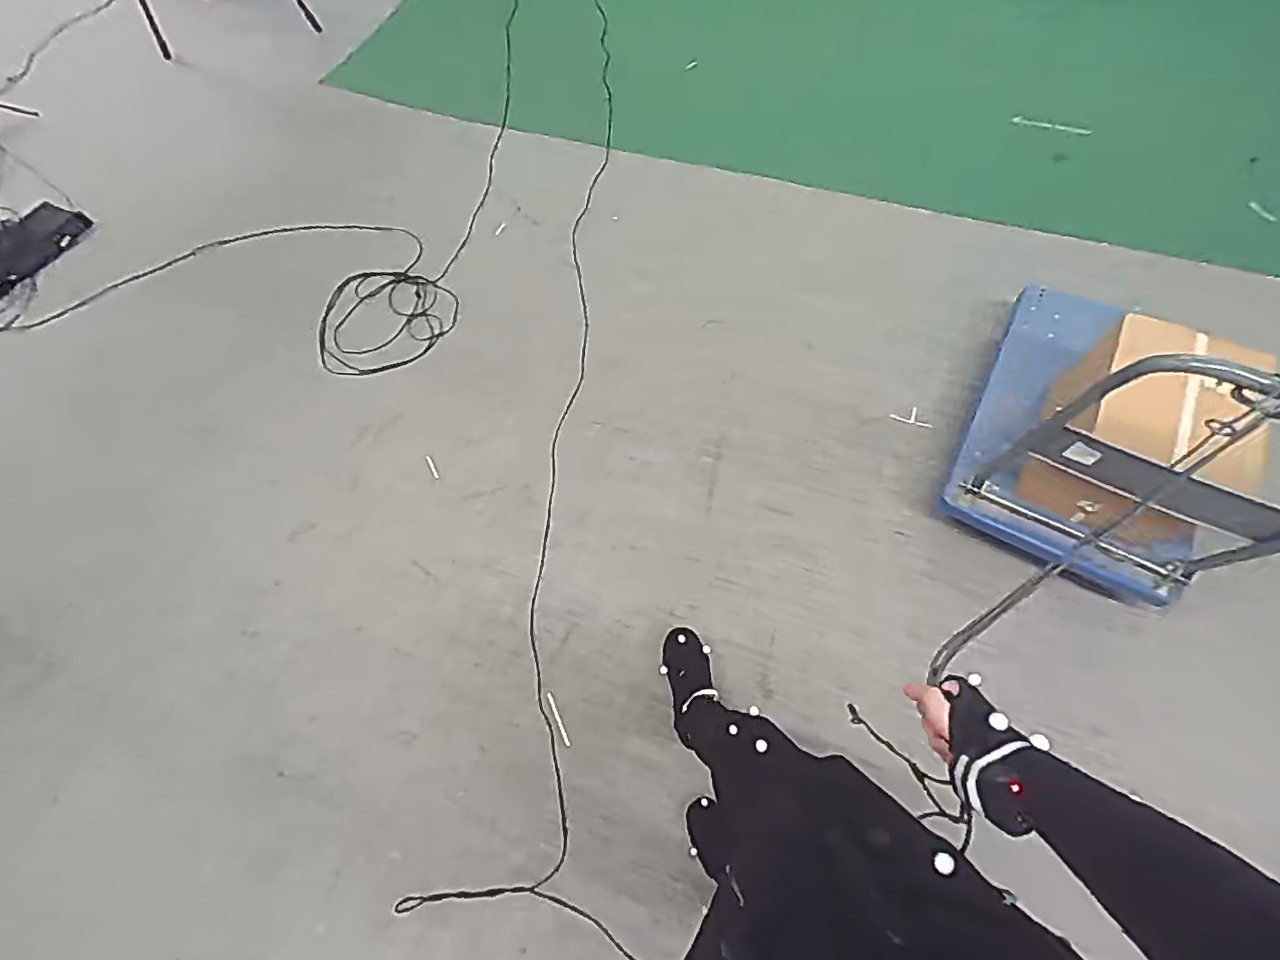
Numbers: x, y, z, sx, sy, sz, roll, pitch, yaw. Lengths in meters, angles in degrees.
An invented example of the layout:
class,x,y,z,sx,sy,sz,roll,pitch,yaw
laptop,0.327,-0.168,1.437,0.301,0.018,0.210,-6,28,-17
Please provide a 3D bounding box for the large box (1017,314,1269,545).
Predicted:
class,x,y,z,sx,sy,sz,roll,pitch,yaw
large box,1.205,-0.115,1.325,0.320,0.320,0.408,26,69,15
